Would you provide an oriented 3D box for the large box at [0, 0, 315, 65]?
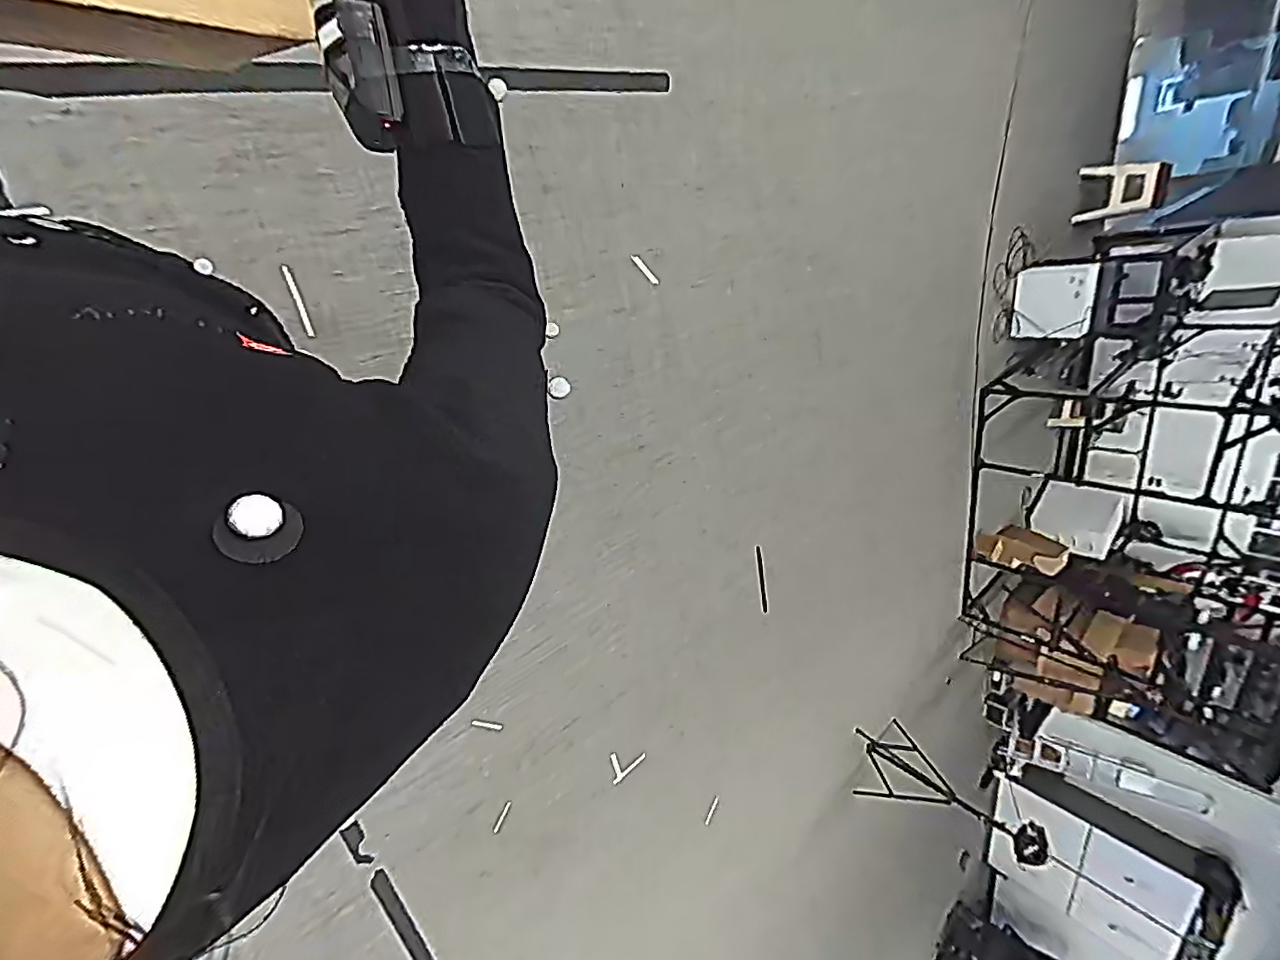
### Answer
[{"bbox_3d":[-0.434,-0.395,0.223,0.408,0.320,0.320,-23,131,-37],"label":"large box"}]
